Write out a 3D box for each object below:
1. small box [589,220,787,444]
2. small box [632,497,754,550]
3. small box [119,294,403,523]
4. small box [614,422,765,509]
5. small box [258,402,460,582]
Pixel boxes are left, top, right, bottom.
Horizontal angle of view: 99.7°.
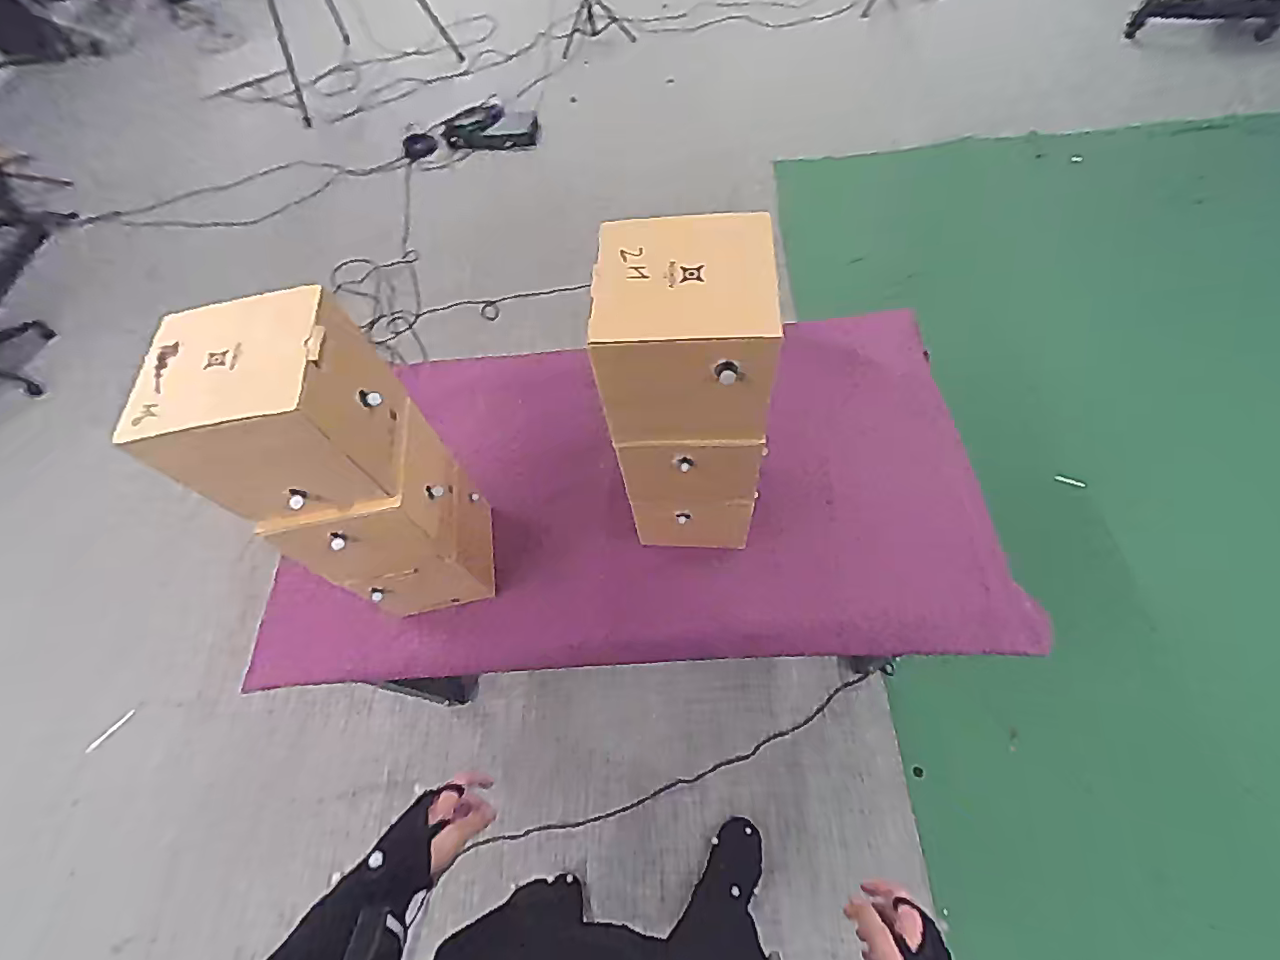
[{"bbox_3d":[0.053,-0.149,0.580,0.179,0.176,0.168,0,62,7],"label":"small box"},{"bbox_3d":[0.089,0.006,0.867,0.179,0.176,0.168,2,62,7],"label":"small box"},{"bbox_3d":[-0.381,-0.069,0.587,0.179,0.176,0.168,-10,59,1],"label":"small box"},{"bbox_3d":[0.071,-0.068,0.723,0.179,0.176,0.168,1,63,7],"label":"small box"},{"bbox_3d":[-0.353,0.023,0.722,0.179,0.176,0.168,-11,60,1],"label":"small box"}]
